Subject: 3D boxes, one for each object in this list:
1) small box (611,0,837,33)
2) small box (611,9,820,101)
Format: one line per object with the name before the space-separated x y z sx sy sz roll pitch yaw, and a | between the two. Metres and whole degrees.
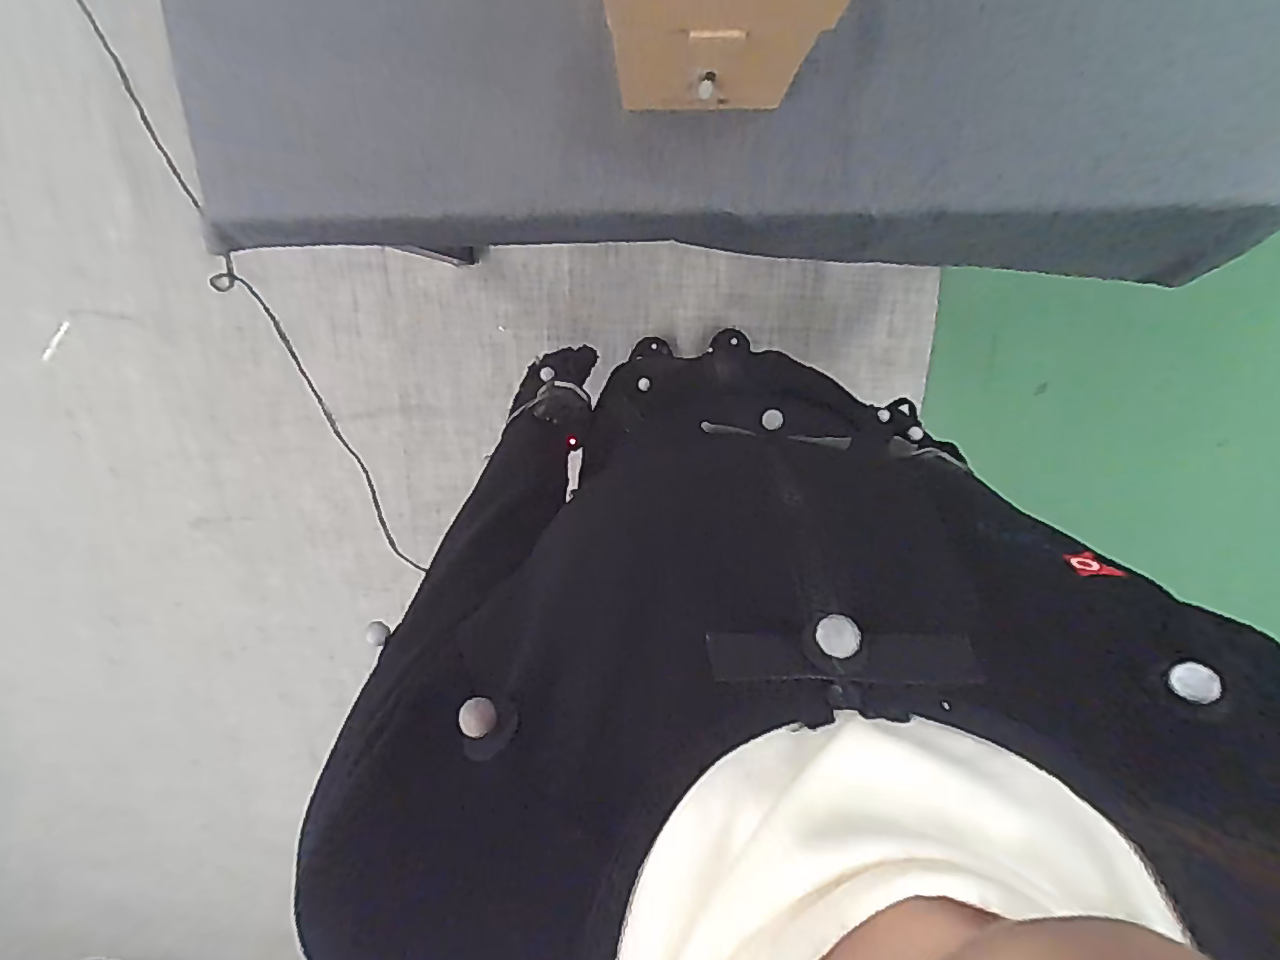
small box | 0.063 -0.403 0.320 0.179 0.176 0.168 -2 106 1
small box | 0.064 -0.458 0.475 0.168 0.176 0.179 1 107 2
